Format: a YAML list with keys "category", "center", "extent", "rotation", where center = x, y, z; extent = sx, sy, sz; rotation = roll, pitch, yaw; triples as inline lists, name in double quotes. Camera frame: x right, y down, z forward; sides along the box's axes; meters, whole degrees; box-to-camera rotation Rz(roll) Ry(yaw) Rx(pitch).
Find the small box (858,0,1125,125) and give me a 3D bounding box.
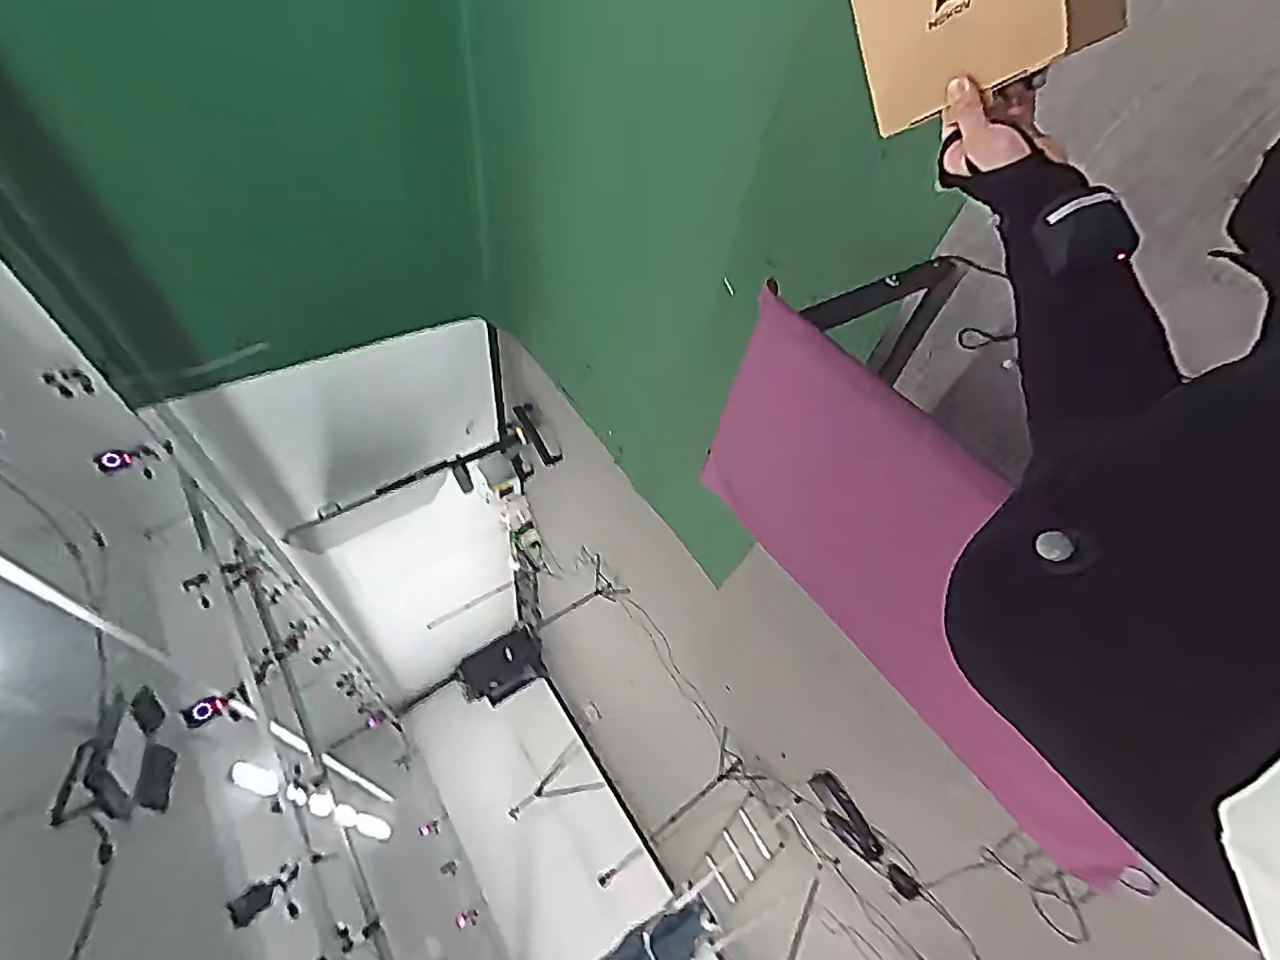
- category: "small box"
  center: [0.329, -0.480, 0.510]
  extent: [0.168, 0.176, 0.179]
  rotation: [8, 128, 53]
